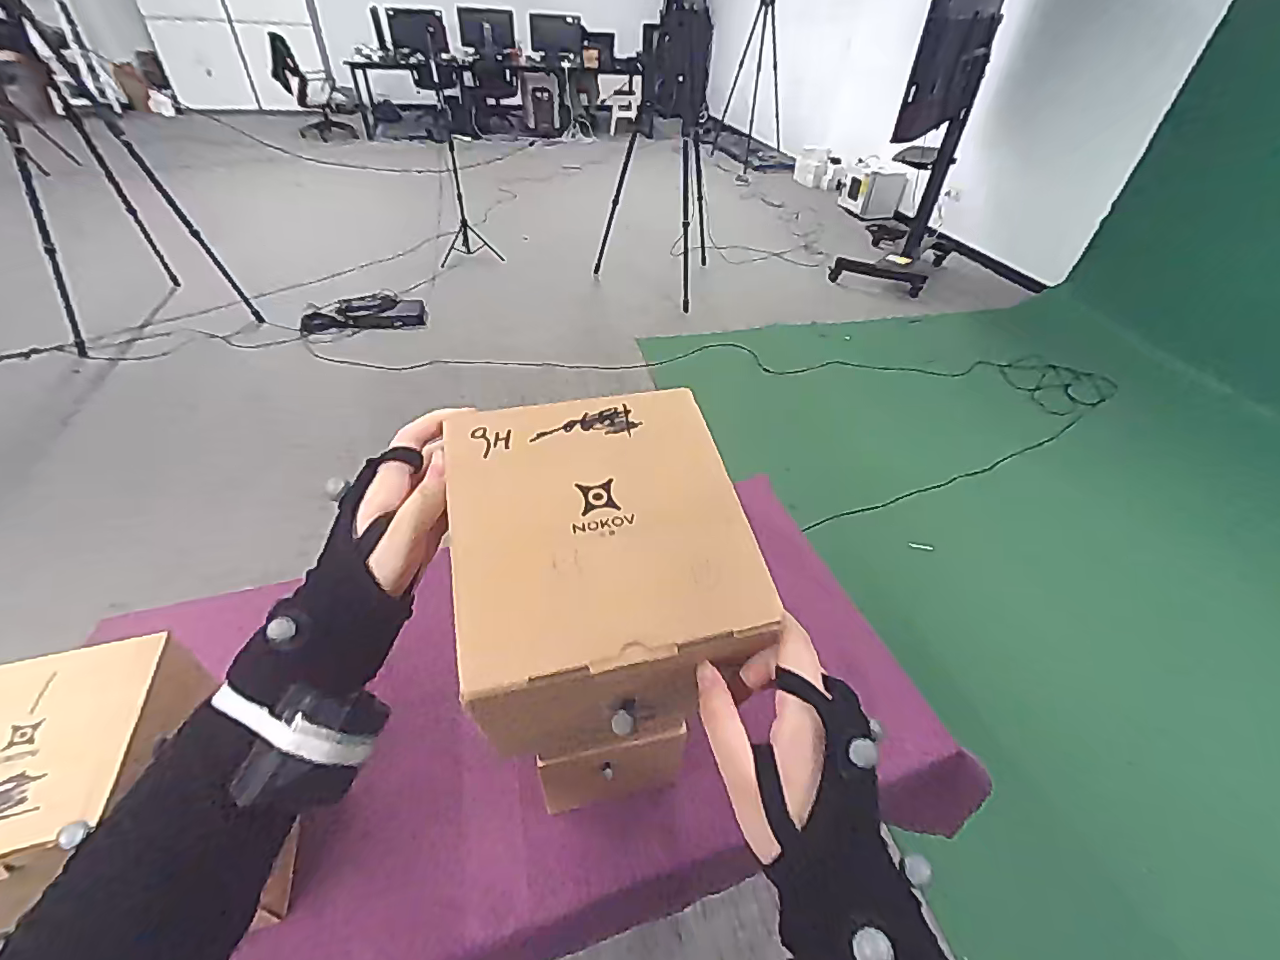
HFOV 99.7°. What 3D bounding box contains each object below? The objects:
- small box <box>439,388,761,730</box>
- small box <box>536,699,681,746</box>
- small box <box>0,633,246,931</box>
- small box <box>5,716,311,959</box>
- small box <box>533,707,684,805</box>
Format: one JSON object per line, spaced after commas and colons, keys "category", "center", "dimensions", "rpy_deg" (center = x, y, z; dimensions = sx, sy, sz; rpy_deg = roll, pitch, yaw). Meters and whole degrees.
{"category": "small box", "center": [-0.037, 0.063, 0.381], "dimensions": [0.168, 0.176, 0.179], "rpy_deg": [-8, 56, -12]}
{"category": "small box", "center": [-0.048, 0.181, 0.619], "dimensions": [0.168, 0.176, 0.179], "rpy_deg": [-7, 43, -11]}
{"category": "small box", "center": [-0.501, 0.277, 0.496], "dimensions": [0.168, 0.176, 0.179], "rpy_deg": [-10, 43, -14]}
{"category": "small box", "center": [-0.503, 0.401, 0.605], "dimensions": [0.179, 0.176, 0.168], "rpy_deg": [-10, 44, -14]}
{"category": "small box", "center": [-0.049, 0.307, 0.723], "dimensions": [0.179, 0.176, 0.168], "rpy_deg": [-8, 44, -10]}
